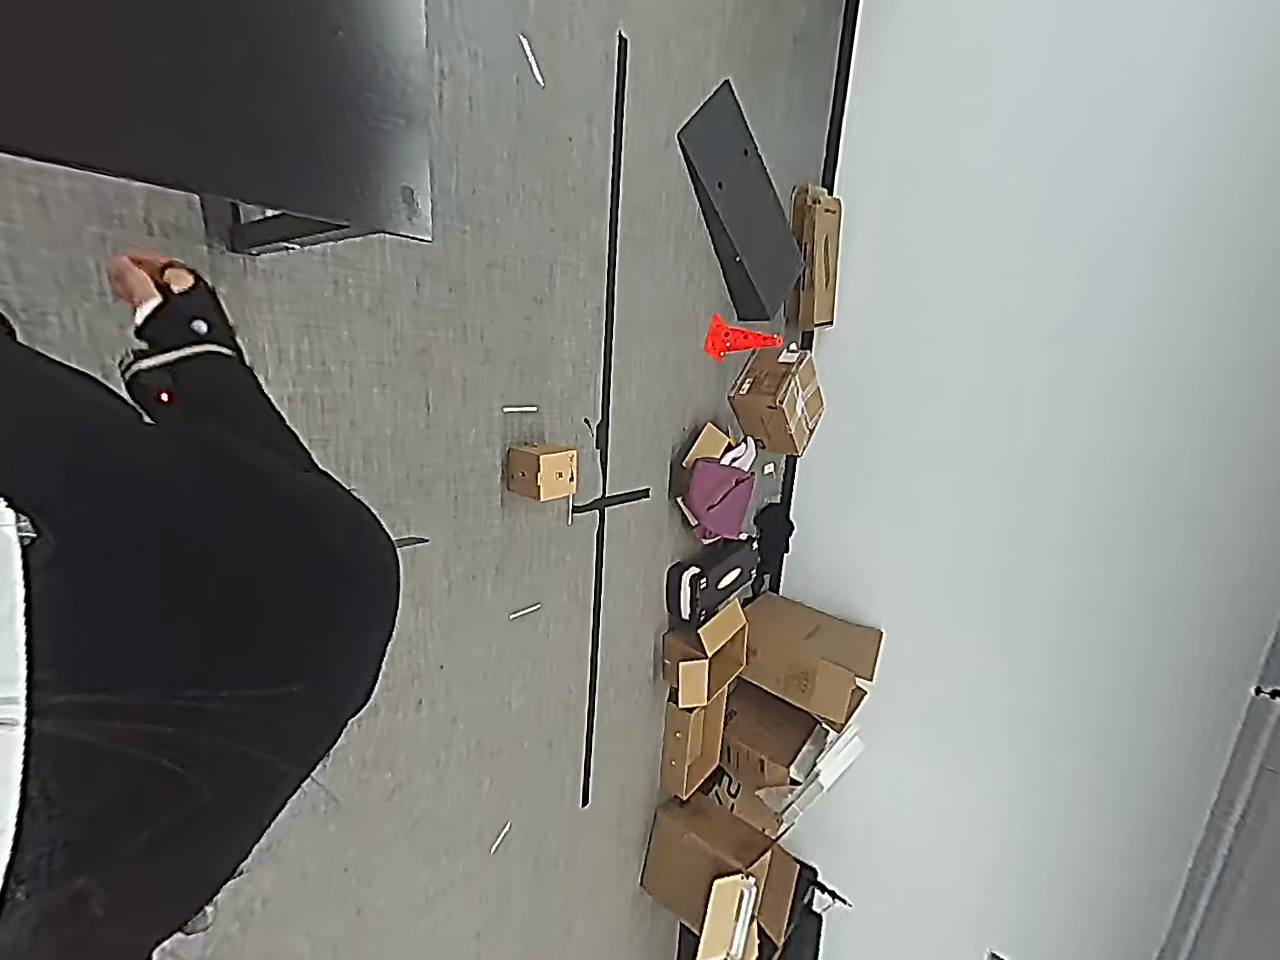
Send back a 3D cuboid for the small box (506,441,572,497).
[{"bbox_3d":[-0.365,-0.043,1.942,0.179,0.176,0.168,-13,111,-49],"label":"small box"}]
